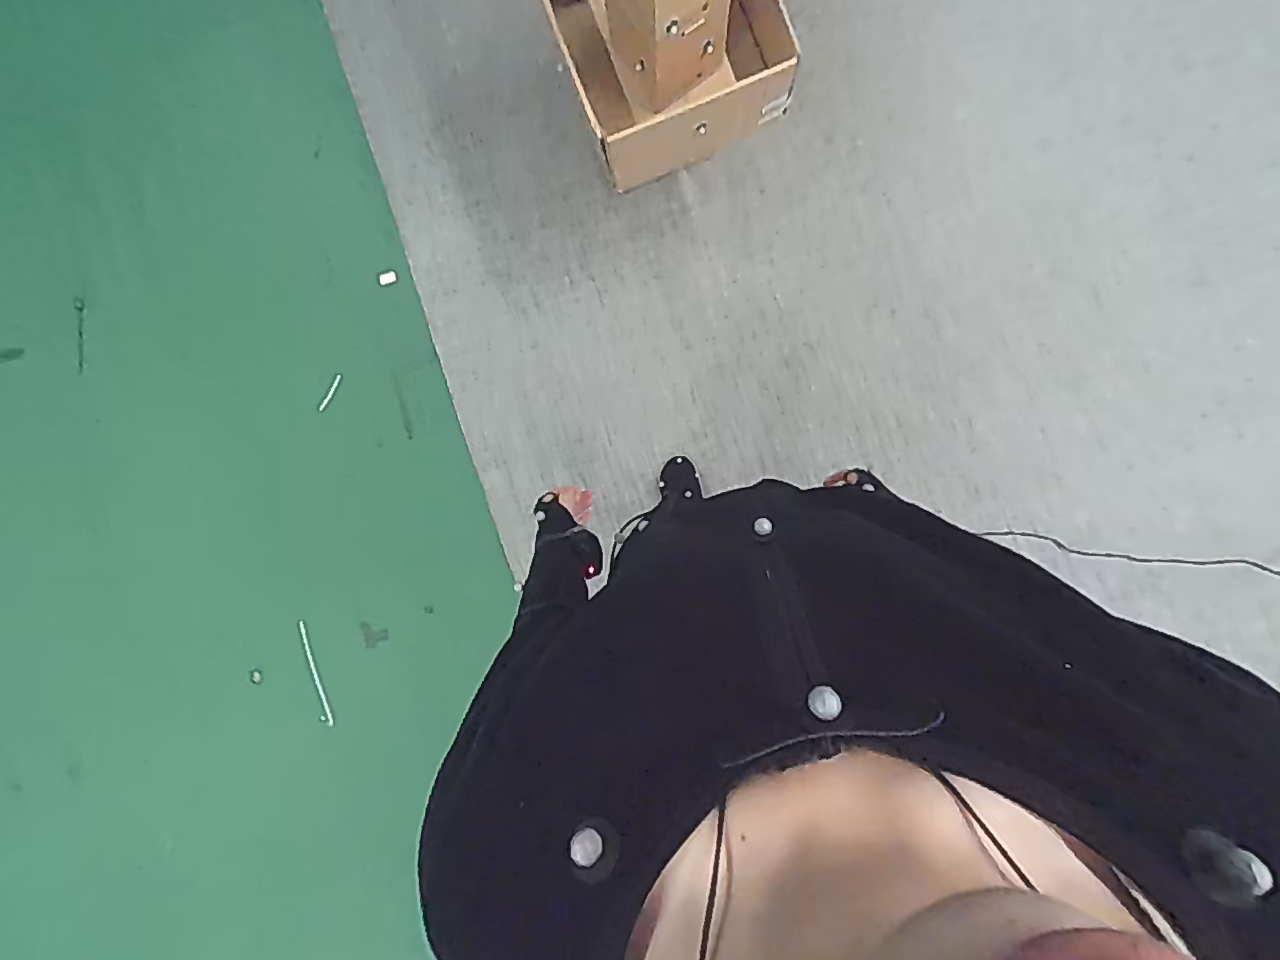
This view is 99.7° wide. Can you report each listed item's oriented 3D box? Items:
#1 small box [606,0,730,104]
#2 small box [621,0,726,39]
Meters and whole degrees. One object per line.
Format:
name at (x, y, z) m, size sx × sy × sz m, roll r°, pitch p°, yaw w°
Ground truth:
small box at (0.053, -0.872, 1.038) m, size 0.168 × 0.176 × 0.179 m, roll -34°, pitch 87°, yaw 2°
small box at (0.045, -0.872, 0.875) m, size 0.168 × 0.176 × 0.179 m, roll -34°, pitch 86°, yaw 2°
